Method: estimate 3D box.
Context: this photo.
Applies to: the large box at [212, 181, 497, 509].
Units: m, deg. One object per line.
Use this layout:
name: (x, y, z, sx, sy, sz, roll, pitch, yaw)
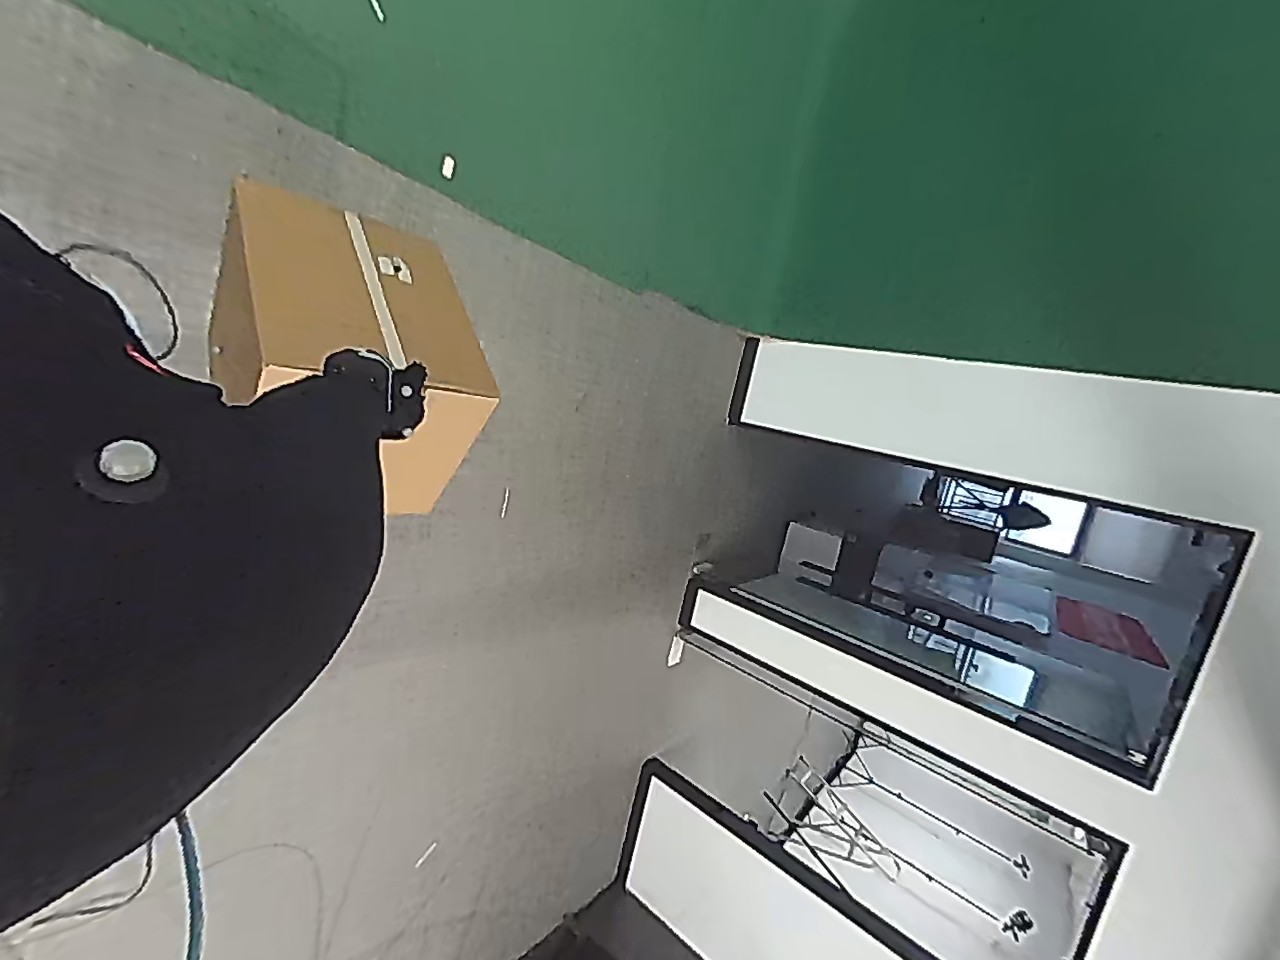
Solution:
large box: (-0.499, -0.199, 0.911, 0.320, 0.408, 0.320, 3, 140, -46)
